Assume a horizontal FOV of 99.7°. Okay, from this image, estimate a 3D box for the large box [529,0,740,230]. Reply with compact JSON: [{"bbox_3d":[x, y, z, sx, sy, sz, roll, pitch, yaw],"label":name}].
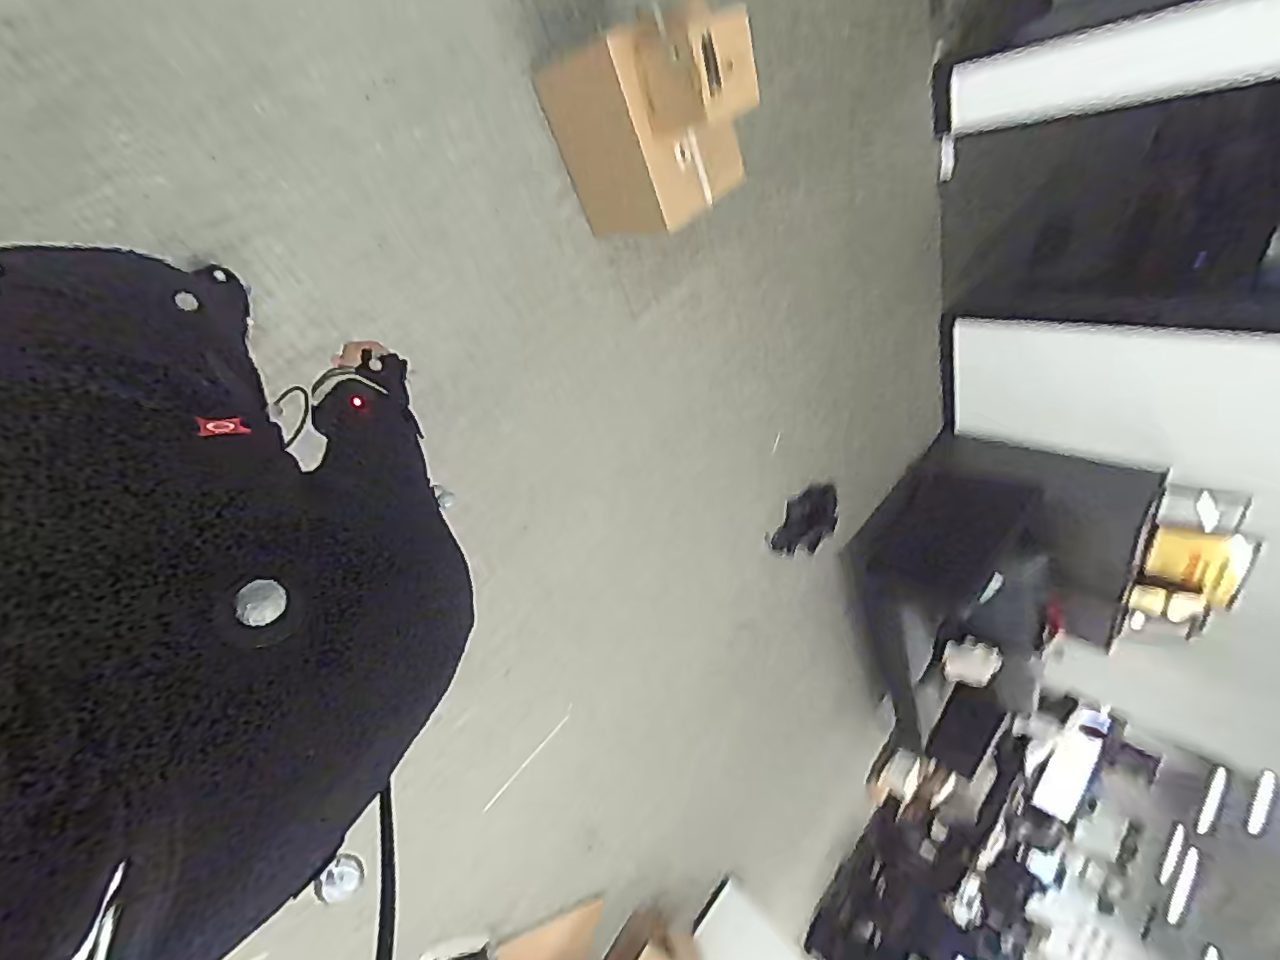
[{"bbox_3d":[-0.003,-0.895,1.350,0.320,0.320,0.408,-43,132,-20],"label":"large box"}]
